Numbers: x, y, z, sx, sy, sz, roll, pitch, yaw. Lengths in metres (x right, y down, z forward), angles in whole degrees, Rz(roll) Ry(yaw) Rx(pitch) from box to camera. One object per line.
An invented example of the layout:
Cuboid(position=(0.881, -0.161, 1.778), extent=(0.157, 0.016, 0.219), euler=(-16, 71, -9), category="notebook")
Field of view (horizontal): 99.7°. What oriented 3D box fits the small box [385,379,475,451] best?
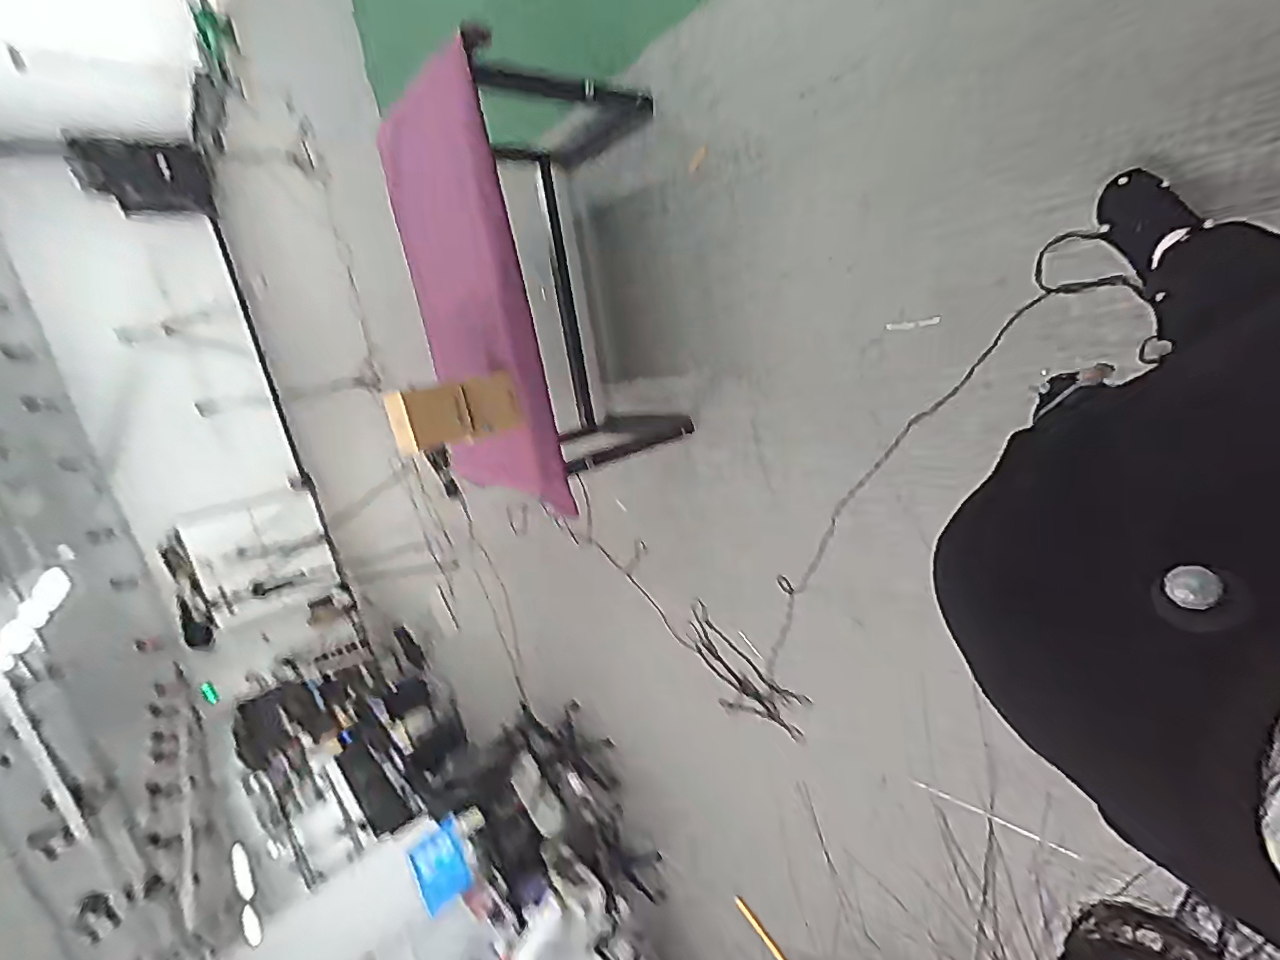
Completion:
Cuboid(position=(-0.585, -0.182, 1.512), extent=(0.179, 0.176, 0.168), euler=(4, 110, 50), category="small box")
